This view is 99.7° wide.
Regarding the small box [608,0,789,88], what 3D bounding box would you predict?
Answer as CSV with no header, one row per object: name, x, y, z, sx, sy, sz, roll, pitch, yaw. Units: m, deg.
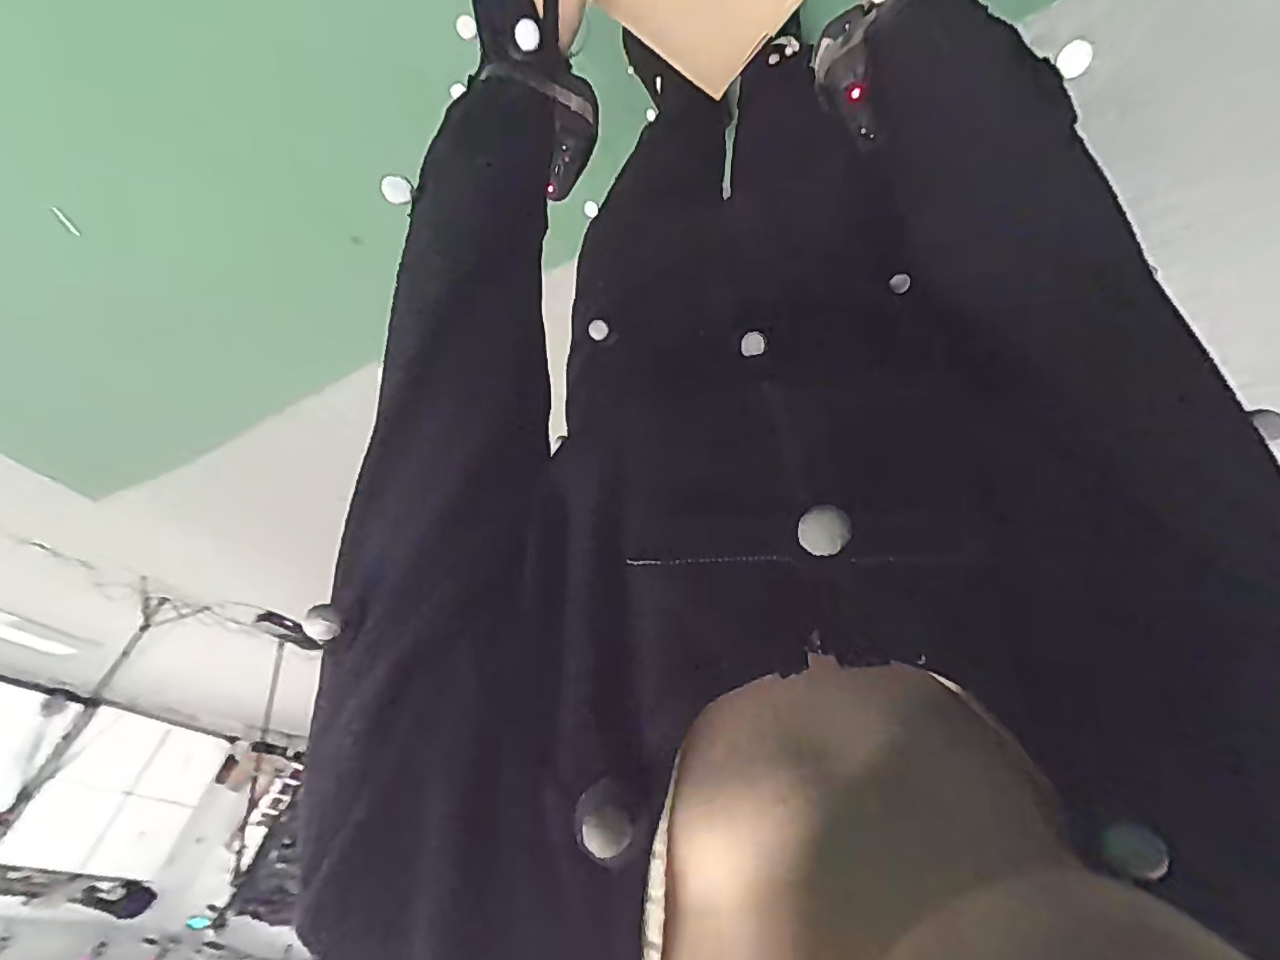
small box,0.043,-0.451,0.387,0.179,0.176,0.168,17,150,-32
